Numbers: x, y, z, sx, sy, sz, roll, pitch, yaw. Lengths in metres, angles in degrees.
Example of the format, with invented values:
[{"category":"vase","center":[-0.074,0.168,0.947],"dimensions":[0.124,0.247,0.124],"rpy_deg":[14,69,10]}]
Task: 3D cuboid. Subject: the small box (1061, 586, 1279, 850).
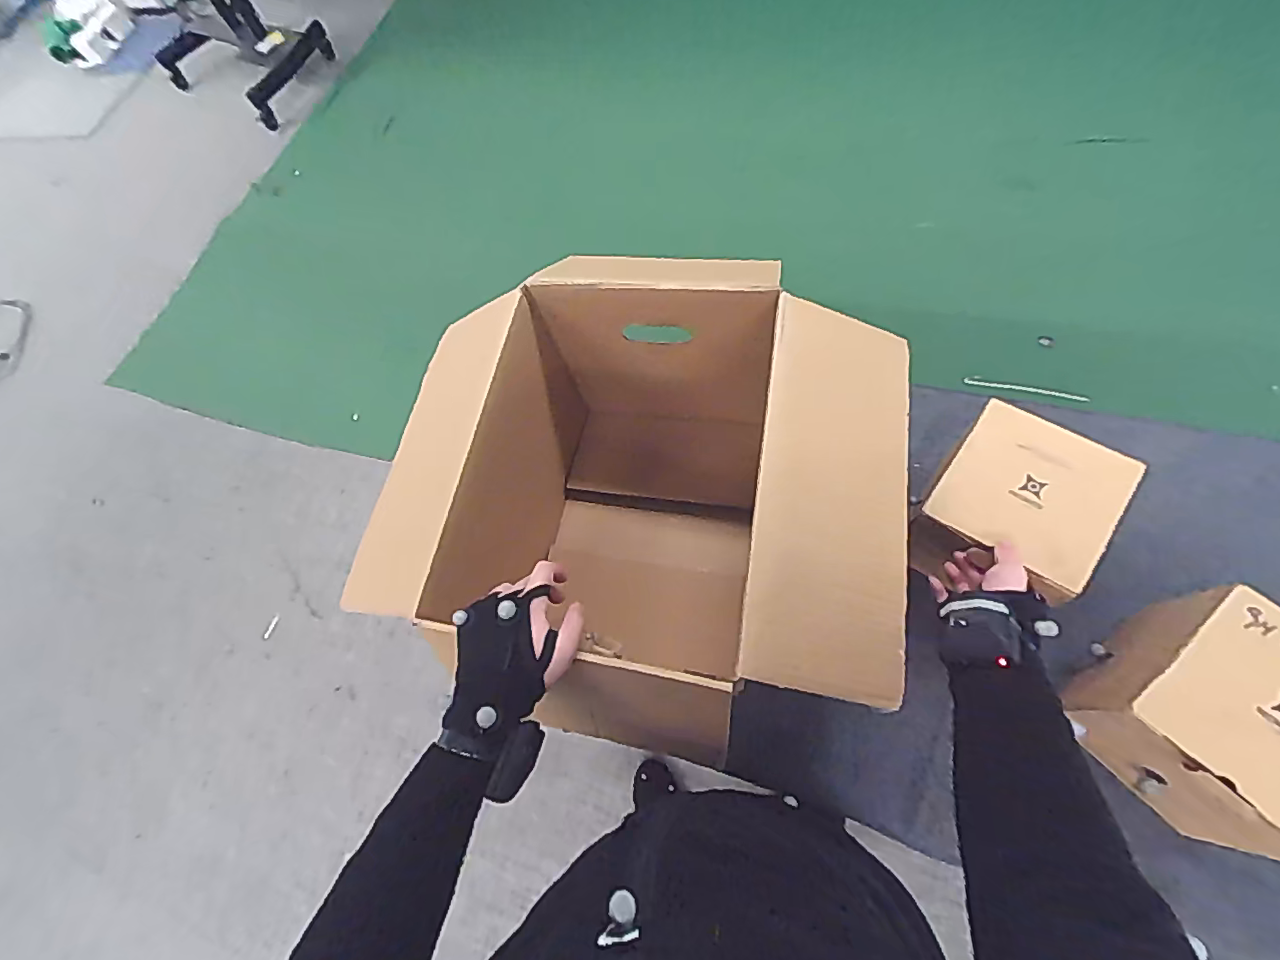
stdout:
[{"category":"small box","center":[0.584,0.241,0.553],"dimensions":[0.179,0.176,0.168],"rpy_deg":[-41,65,-6]}]
